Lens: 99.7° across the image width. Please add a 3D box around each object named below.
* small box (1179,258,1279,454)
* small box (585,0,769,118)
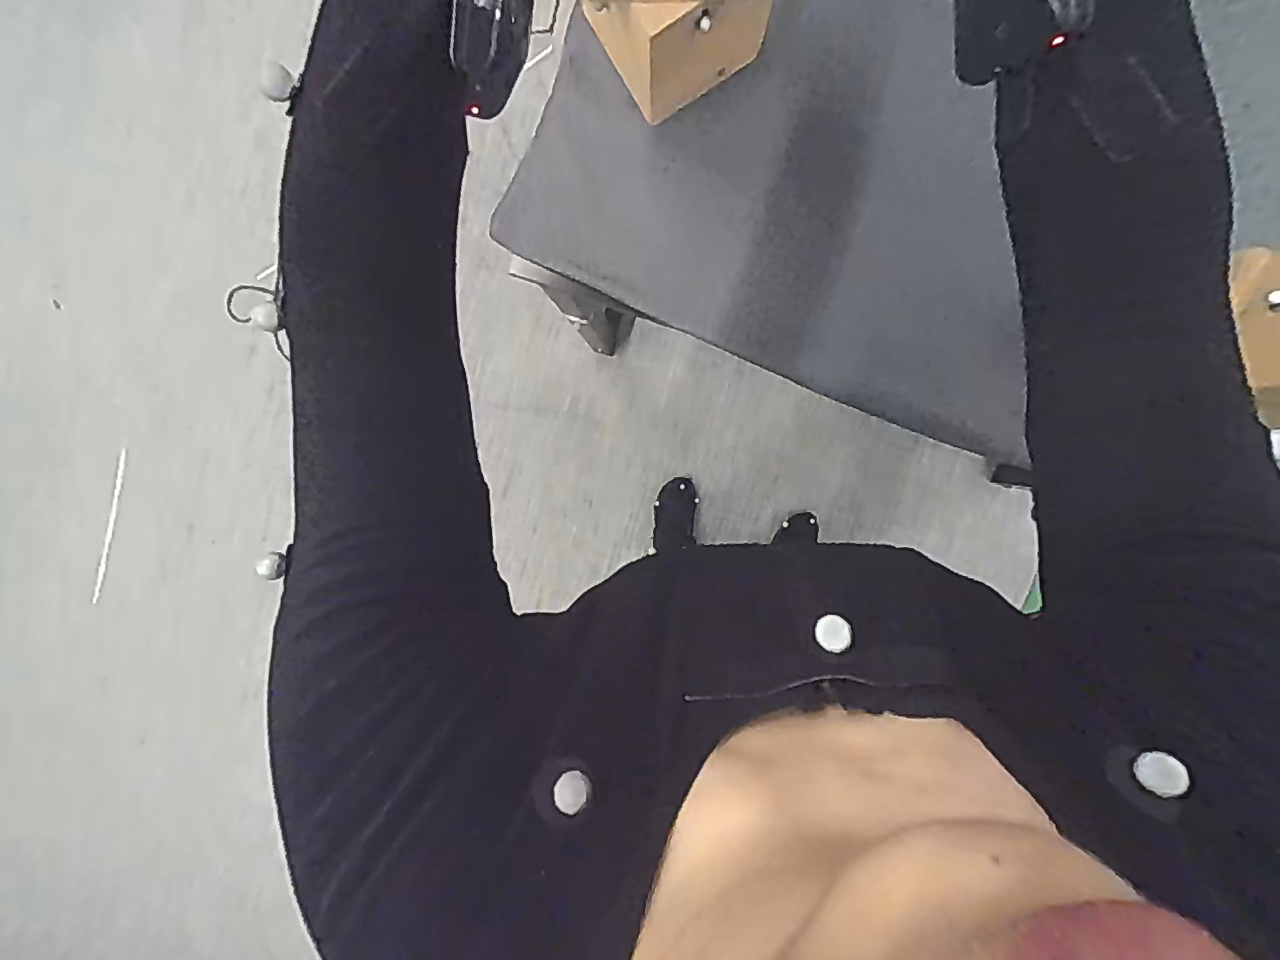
[{"bbox_3d":[0.652,-0.109,0.463,0.179,0.176,0.168,30,94,2],"label":"small box"},{"bbox_3d":[0.035,-0.573,0.618,0.168,0.176,0.179,-31,93,5],"label":"small box"}]
